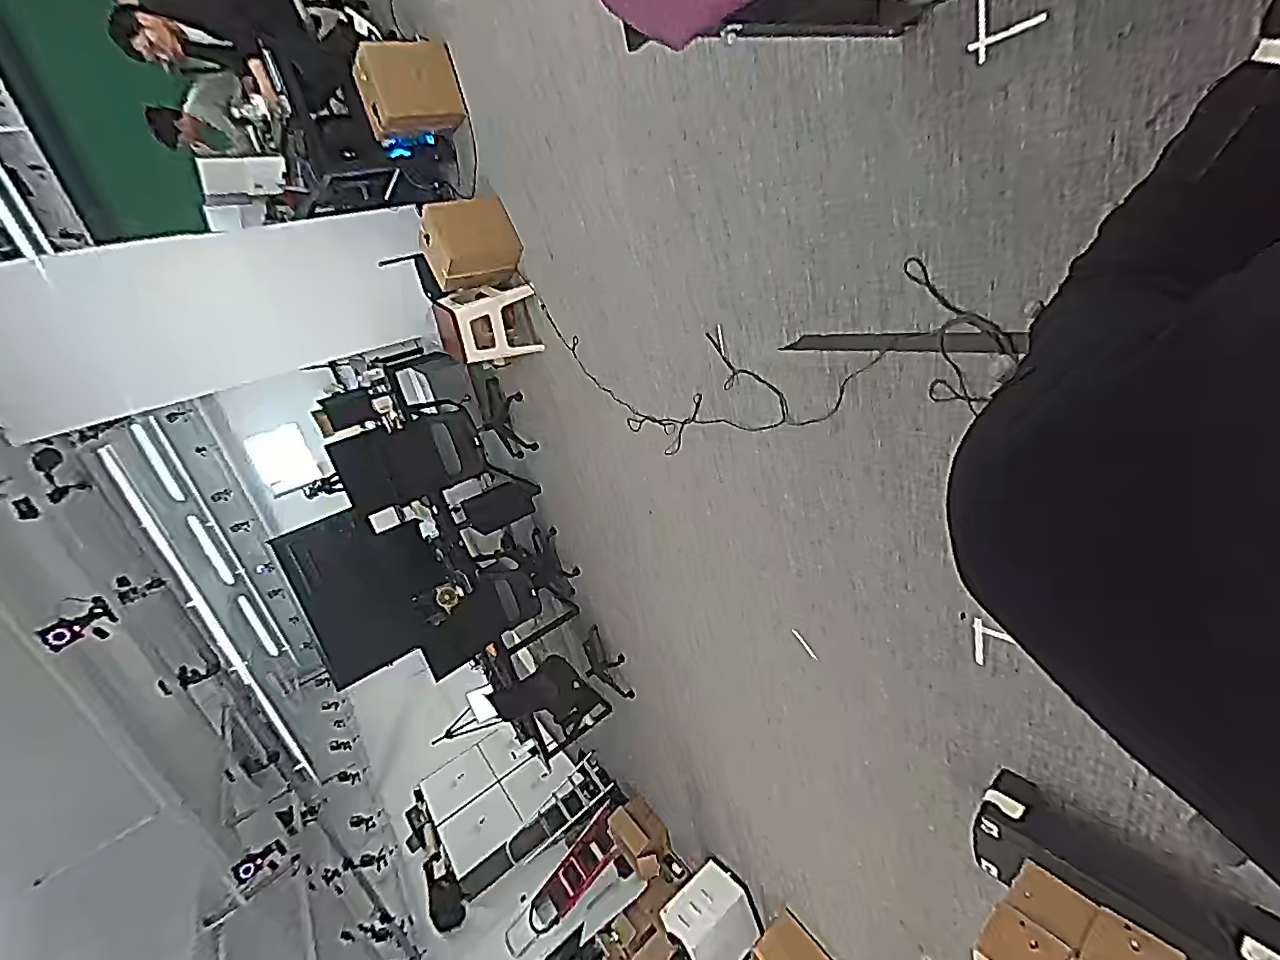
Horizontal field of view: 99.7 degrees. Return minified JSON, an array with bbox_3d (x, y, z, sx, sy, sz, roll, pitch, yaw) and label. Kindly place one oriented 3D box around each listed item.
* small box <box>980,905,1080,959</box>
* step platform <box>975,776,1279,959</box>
[{"bbox_3d":[1.018,1.282,1.411,0.168,0.176,0.179,15,125,54],"label":"small box"},{"bbox_3d":[1.332,1.176,1.511,0.684,0.204,0.286,16,128,52],"label":"step platform"}]
